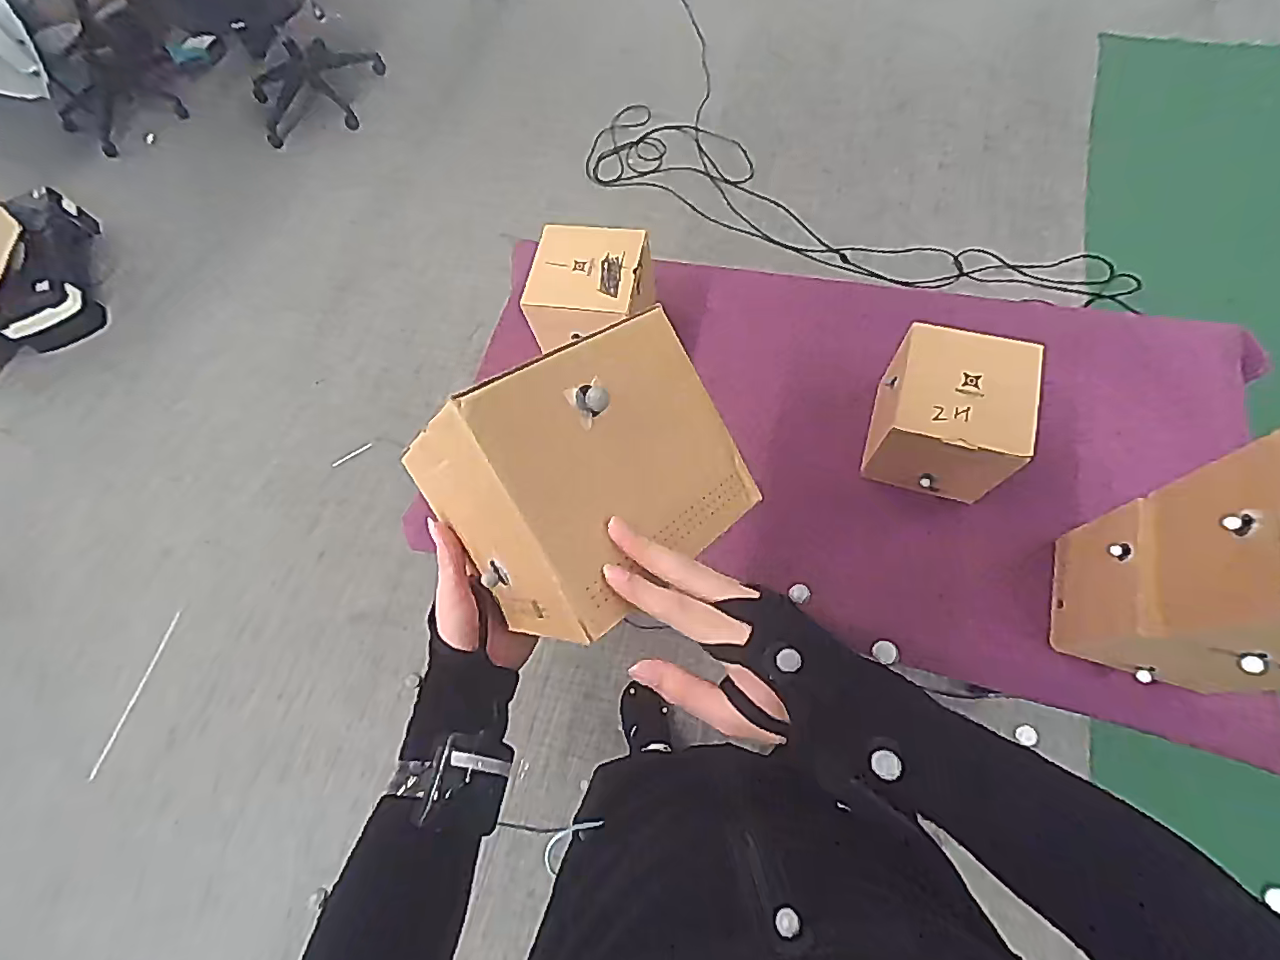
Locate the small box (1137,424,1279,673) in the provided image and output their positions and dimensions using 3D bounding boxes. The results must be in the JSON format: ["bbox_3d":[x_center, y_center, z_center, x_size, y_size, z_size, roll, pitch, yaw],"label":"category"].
[{"bbox_3d":[0.626,0.076,0.517,0.168,0.176,0.179,15,71,14],"label":"small box"}]

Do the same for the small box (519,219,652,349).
[{"bbox_3d":[-0.080,-0.313,0.925,0.179,0.176,0.168,8,70,10],"label":"small box"}]

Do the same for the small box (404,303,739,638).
[{"bbox_3d":[-0.048,-0.005,0.420,0.179,0.168,0.176,-35,100,-32],"label":"small box"}]

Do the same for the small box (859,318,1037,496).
[{"bbox_3d":[0.434,-0.099,0.784,0.168,0.176,0.179,16,72,13],"label":"small box"}]

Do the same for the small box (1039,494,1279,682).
[{"bbox_3d":[0.642,0.139,0.666,0.179,0.176,0.168,16,70,12],"label":"small box"}]
